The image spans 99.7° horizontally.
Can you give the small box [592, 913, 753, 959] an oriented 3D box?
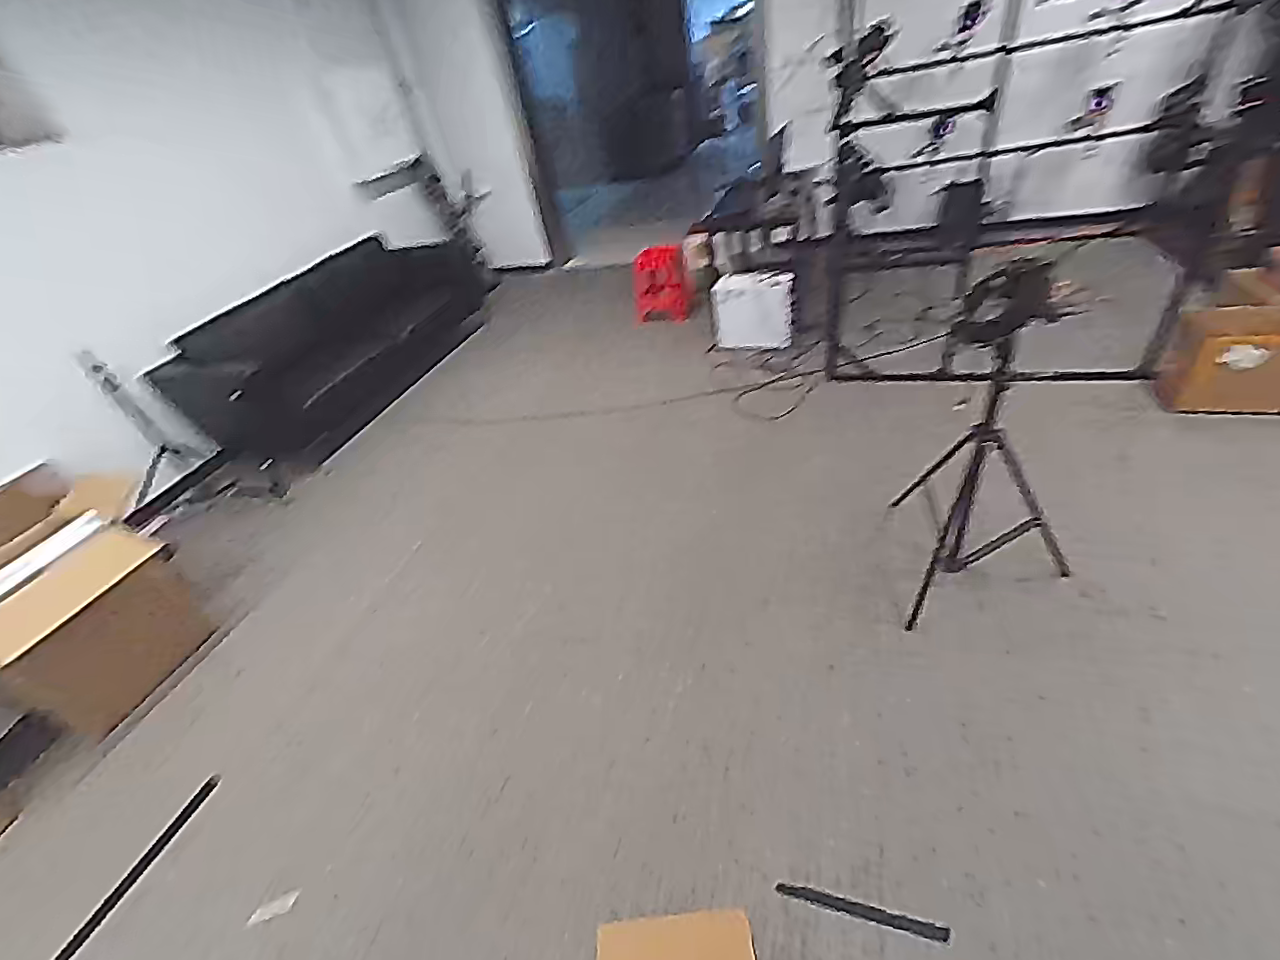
[{"bbox_3d":[0.044,0.609,0.574,0.179,0.176,0.168,-5,23,-1],"label":"small box"}]
